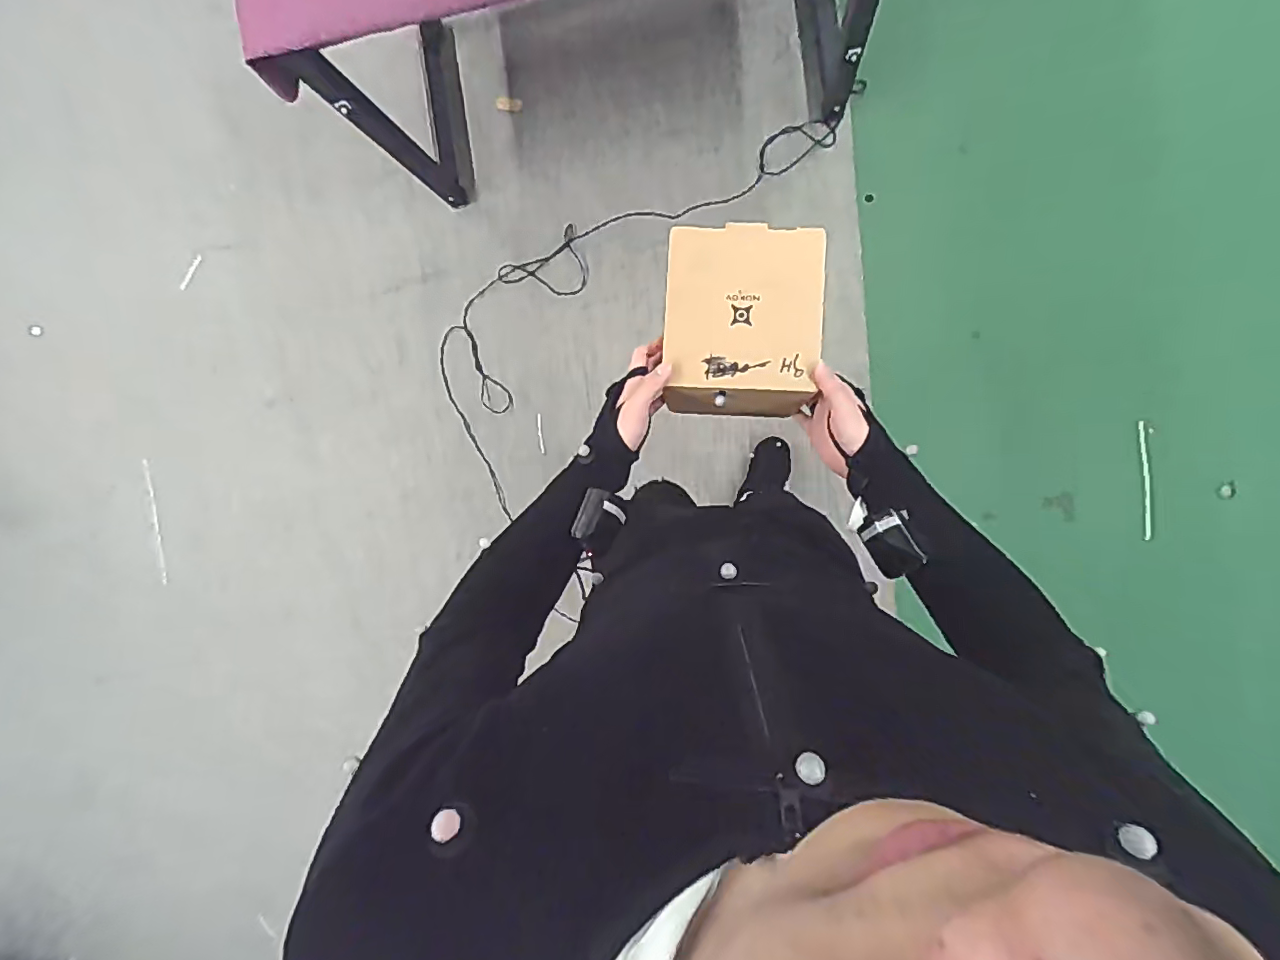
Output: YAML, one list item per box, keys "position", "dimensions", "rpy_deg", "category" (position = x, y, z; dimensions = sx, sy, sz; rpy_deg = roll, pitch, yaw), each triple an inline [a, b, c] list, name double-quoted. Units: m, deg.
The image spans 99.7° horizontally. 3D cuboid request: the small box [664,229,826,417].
- position: [0.117, -0.178, 0.653]
  dimensions: [0.168, 0.176, 0.179]
  rpy_deg: [3, 90, 5]
  category: "small box"
